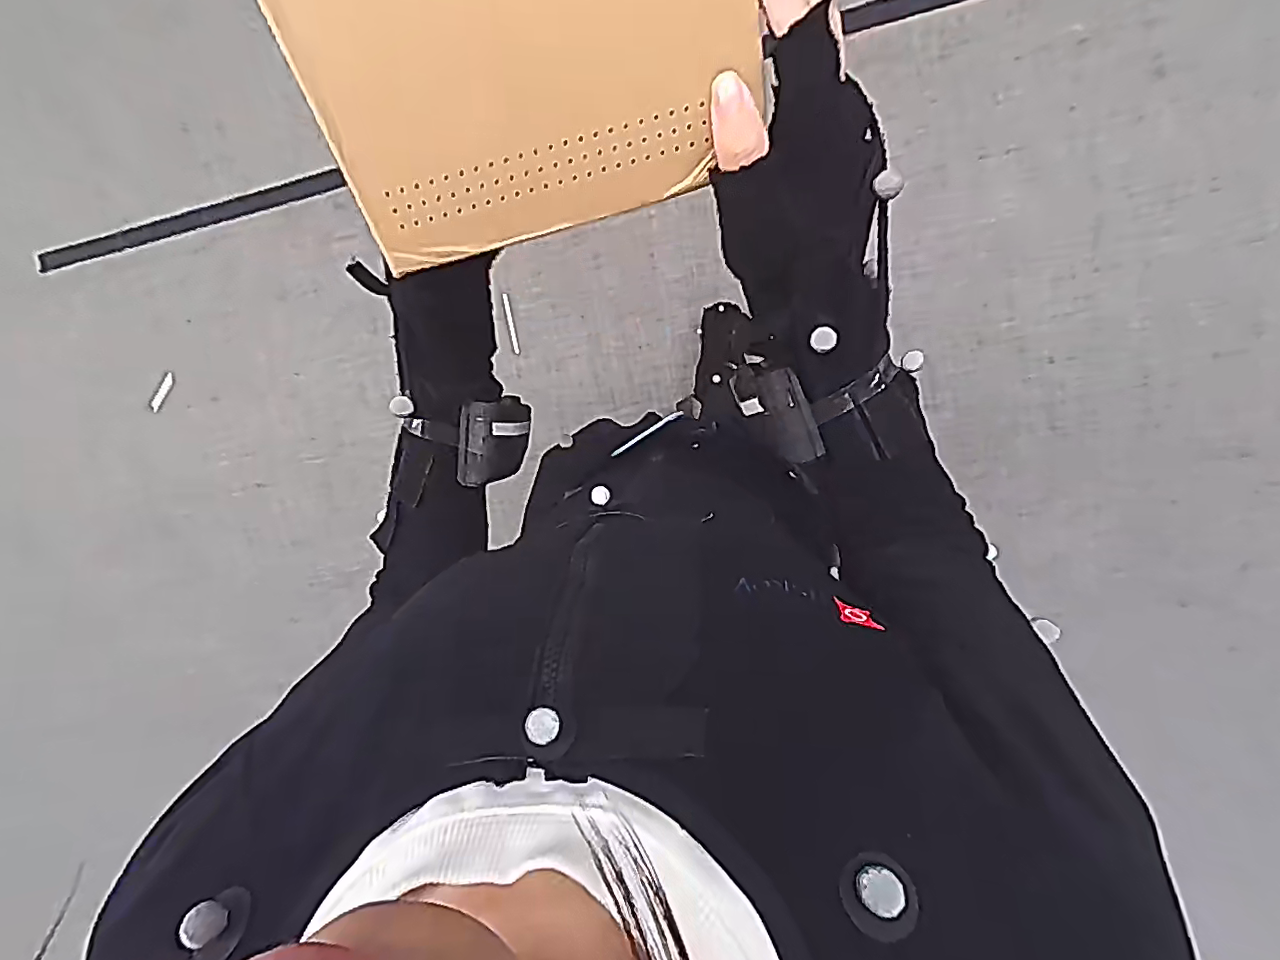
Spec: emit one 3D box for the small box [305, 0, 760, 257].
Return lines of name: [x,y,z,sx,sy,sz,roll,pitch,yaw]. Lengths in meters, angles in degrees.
small box: [-0.051,-0.231,0.270,0.179,0.168,0.176,-14,128,4]
